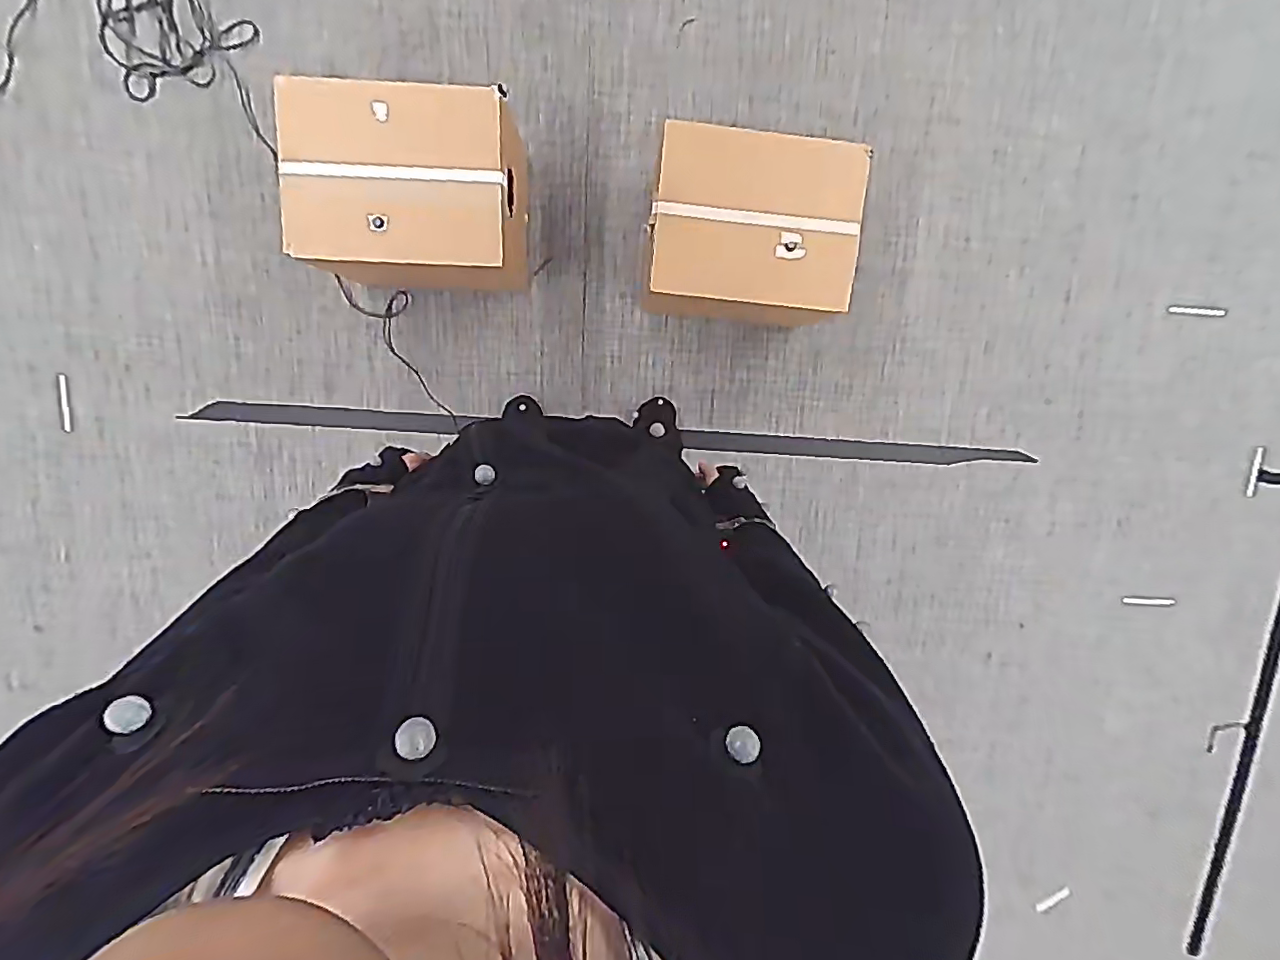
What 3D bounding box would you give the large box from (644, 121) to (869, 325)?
[{"bbox_3d":[0.226,-0.536,1.202,0.408,0.320,0.320,5,100,-4],"label":"large box"}]
